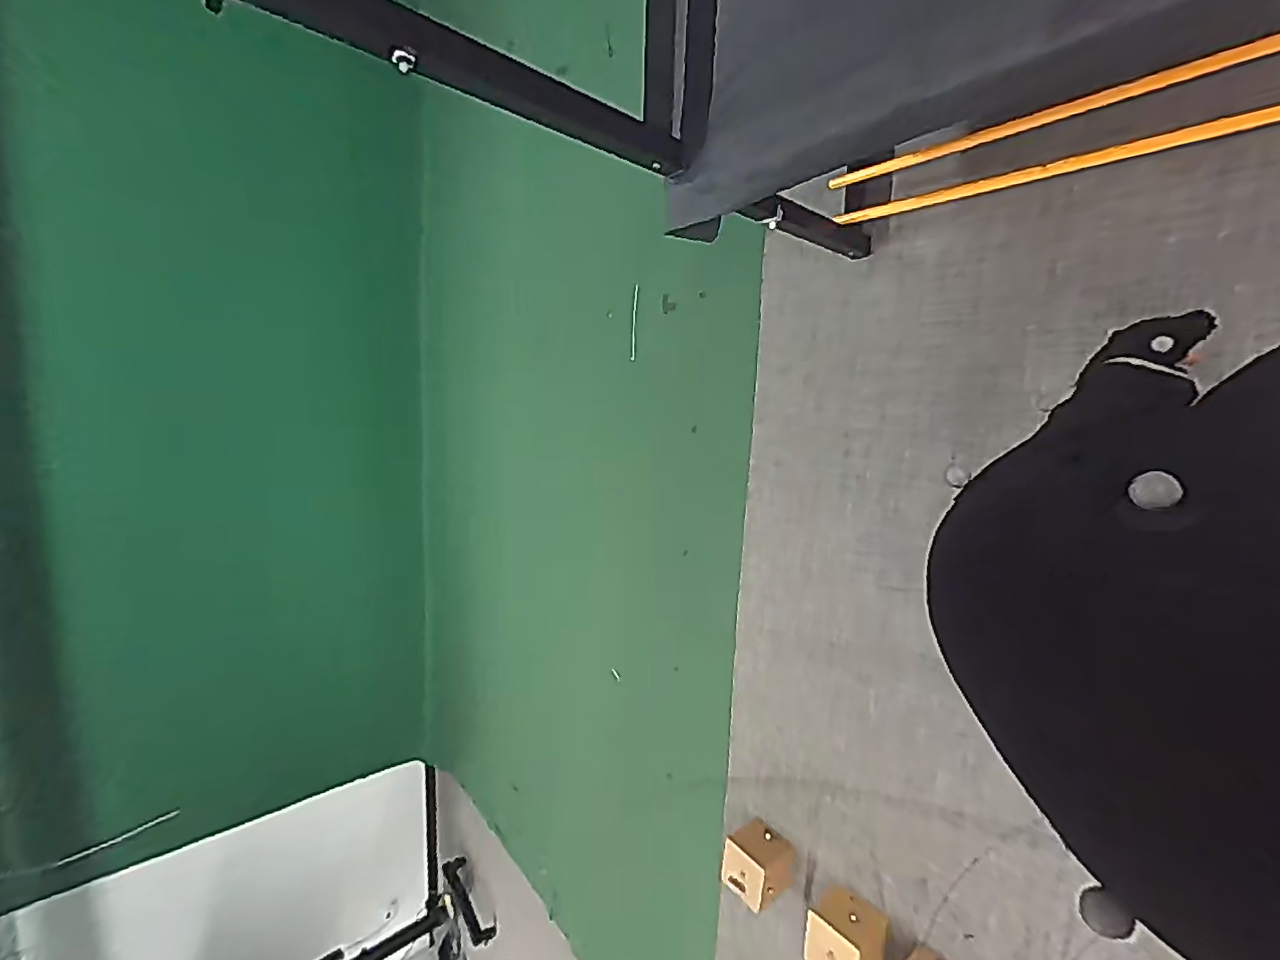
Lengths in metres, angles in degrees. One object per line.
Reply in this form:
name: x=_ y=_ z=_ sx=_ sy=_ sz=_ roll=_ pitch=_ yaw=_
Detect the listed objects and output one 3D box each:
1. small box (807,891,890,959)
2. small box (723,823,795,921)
small box: x=0.619 y=1.380 z=1.601 sx=0.168 sy=0.176 sz=0.179 roll=11 pitch=102 yaw=49
small box: x=0.409 y=1.330 z=1.844 sx=0.168 sy=0.176 sz=0.179 roll=17 pitch=104 yaw=48
